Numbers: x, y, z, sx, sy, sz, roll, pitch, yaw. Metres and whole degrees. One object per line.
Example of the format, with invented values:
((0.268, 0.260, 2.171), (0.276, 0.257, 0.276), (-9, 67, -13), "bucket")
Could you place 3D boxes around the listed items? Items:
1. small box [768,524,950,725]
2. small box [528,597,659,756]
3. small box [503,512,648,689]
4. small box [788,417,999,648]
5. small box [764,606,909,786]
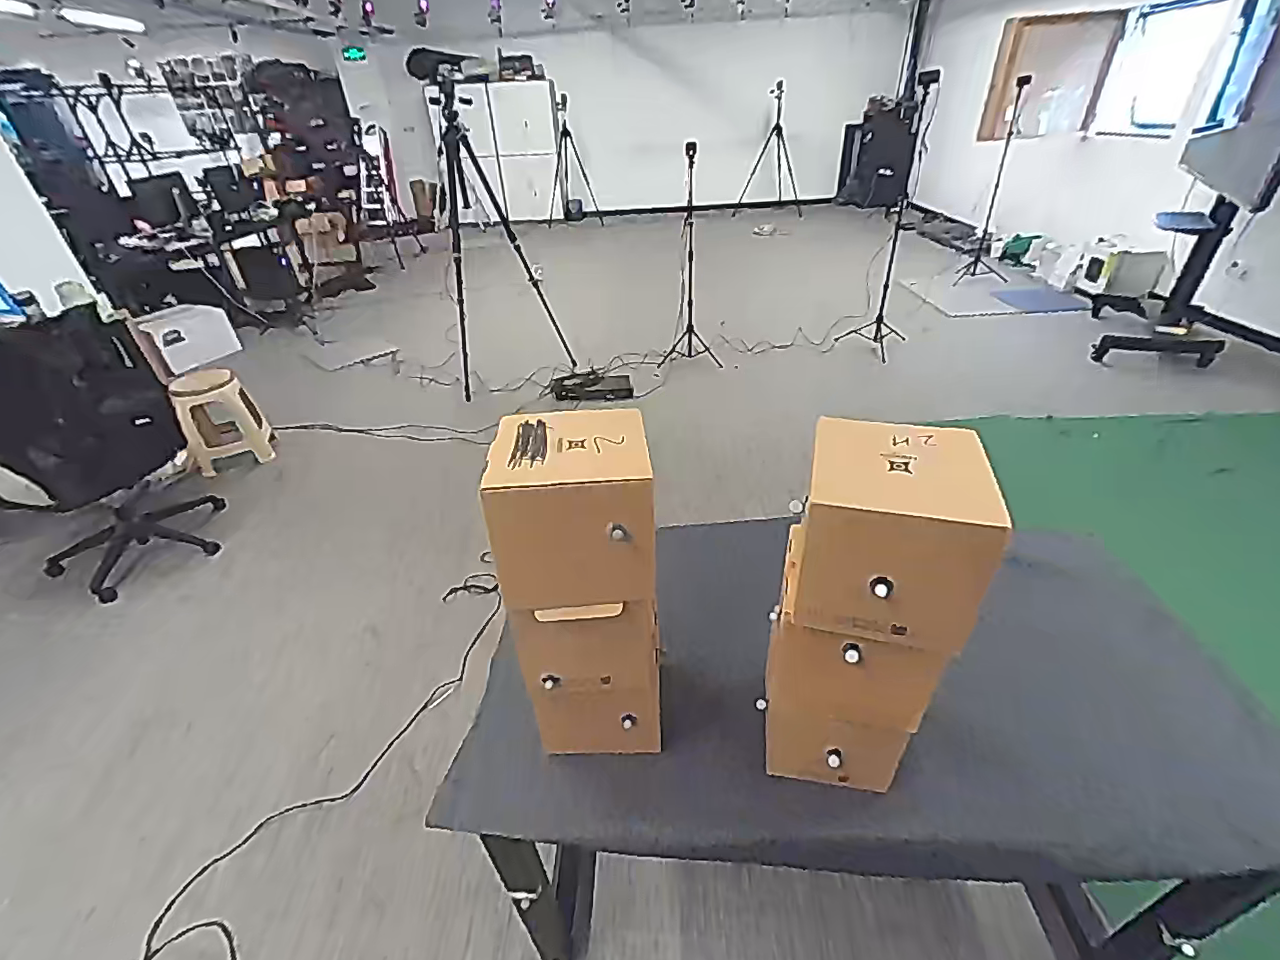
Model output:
((0.263, 0.180, 0.682), (0.179, 0.176, 0.168), (5, 35, 15), "small box")
((-0.059, 0.301, 0.831), (0.179, 0.176, 0.168), (-3, 33, 2), "small box")
((-0.079, 0.166, 0.738), (0.168, 0.176, 0.179), (-4, 32, -2), "small box")
((0.253, 0.051, 0.579), (0.168, 0.176, 0.179), (7, 35, 16), "small box")
((0.270, 0.309, 0.781), (0.168, 0.176, 0.179), (3, 35, 11), "small box")
